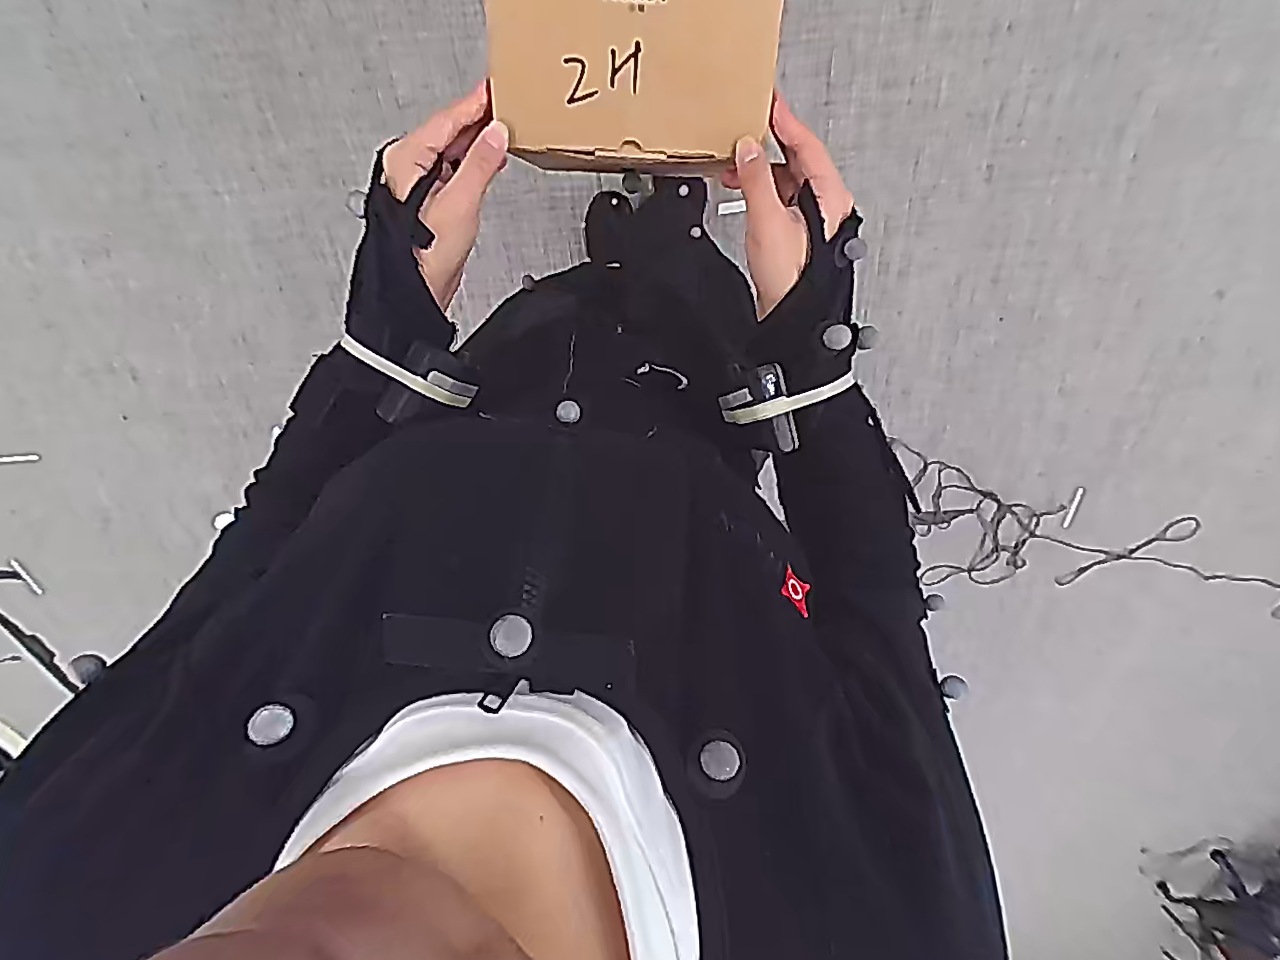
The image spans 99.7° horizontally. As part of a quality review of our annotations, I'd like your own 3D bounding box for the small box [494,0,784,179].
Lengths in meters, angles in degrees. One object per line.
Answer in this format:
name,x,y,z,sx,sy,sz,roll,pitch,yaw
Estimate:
small box,0.000,-0.316,0.370,0.168,0.176,0.179,2,116,-1
